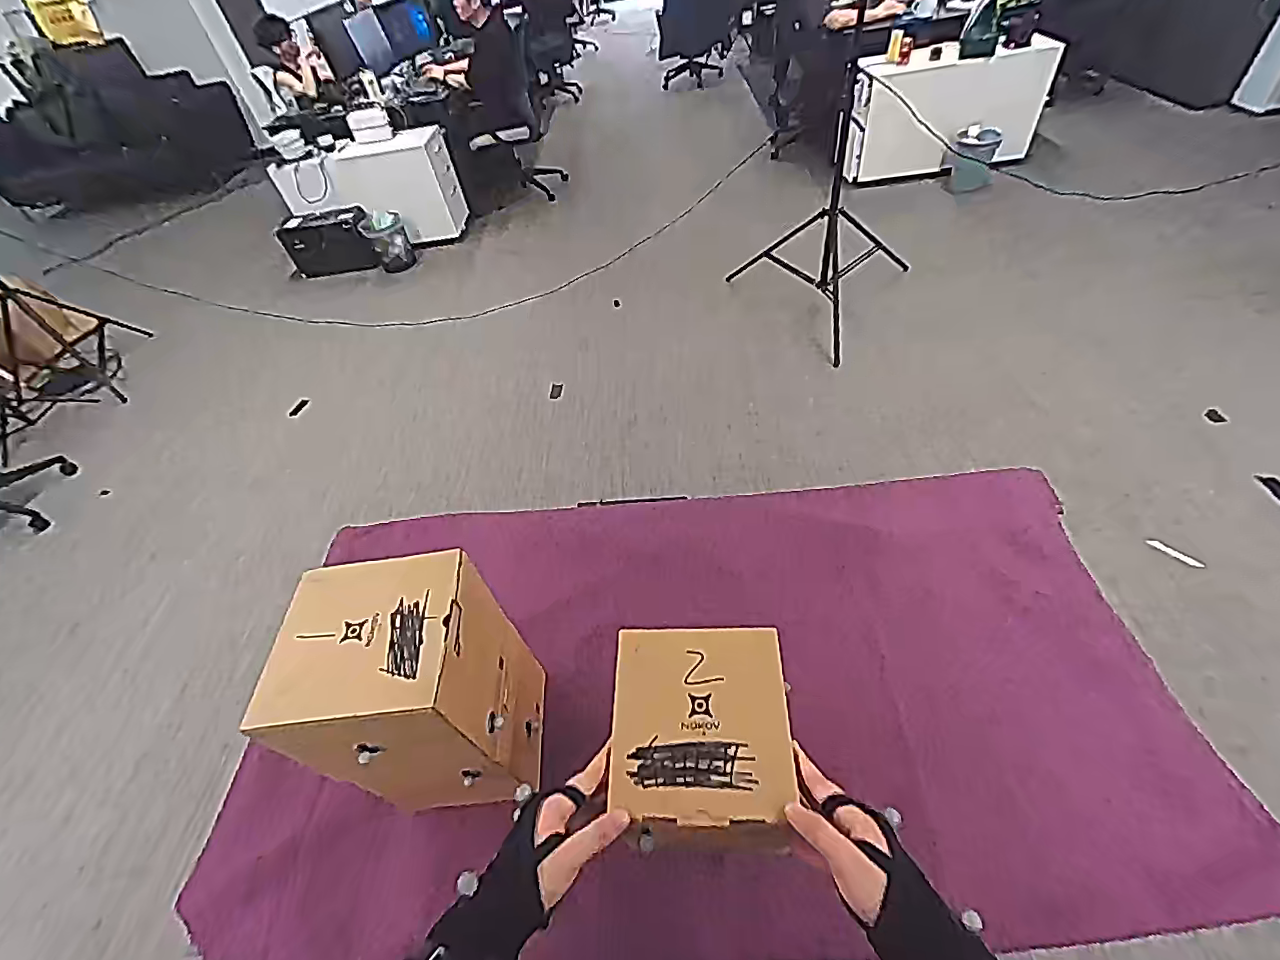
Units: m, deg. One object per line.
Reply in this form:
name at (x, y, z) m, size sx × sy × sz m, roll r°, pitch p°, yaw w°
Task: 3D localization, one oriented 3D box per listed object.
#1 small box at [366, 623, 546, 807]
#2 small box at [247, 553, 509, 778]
small box at (-0.231, 0.306, 0.698) m, size 0.179 × 0.176 × 0.168 m, roll -8°, pitch 47°, yaw 2°
small box at (-0.250, 0.200, 0.574) m, size 0.179 × 0.176 × 0.168 m, roll -8°, pitch 47°, yaw 3°
